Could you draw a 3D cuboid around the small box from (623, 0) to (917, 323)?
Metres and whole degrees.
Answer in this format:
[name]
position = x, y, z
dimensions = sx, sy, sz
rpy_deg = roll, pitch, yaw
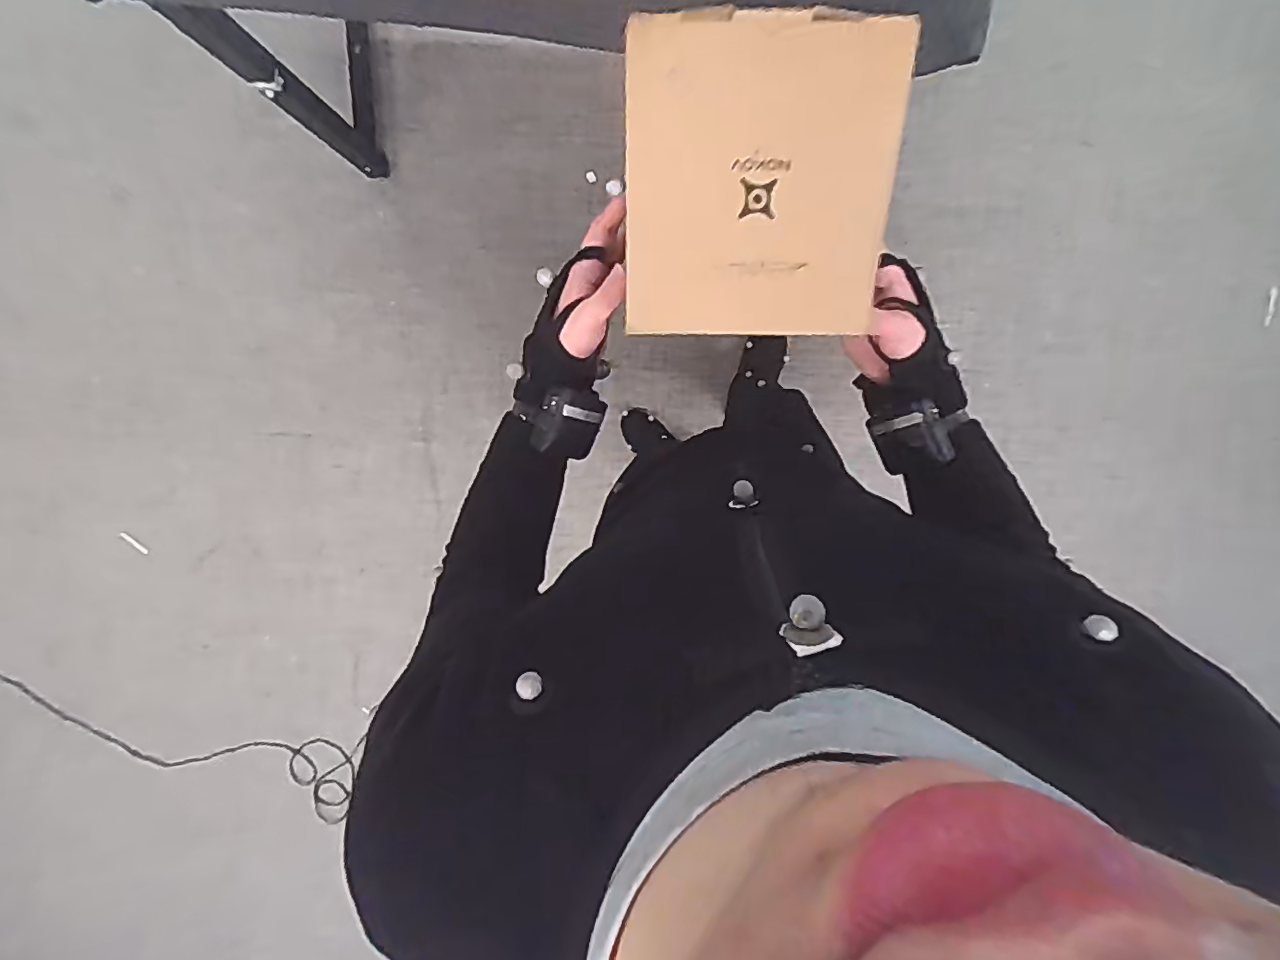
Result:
[small box]
position = 0.072, -0.220, 0.403
dimensions = 0.168, 0.176, 0.179
rpy_deg = 1, 115, 1
